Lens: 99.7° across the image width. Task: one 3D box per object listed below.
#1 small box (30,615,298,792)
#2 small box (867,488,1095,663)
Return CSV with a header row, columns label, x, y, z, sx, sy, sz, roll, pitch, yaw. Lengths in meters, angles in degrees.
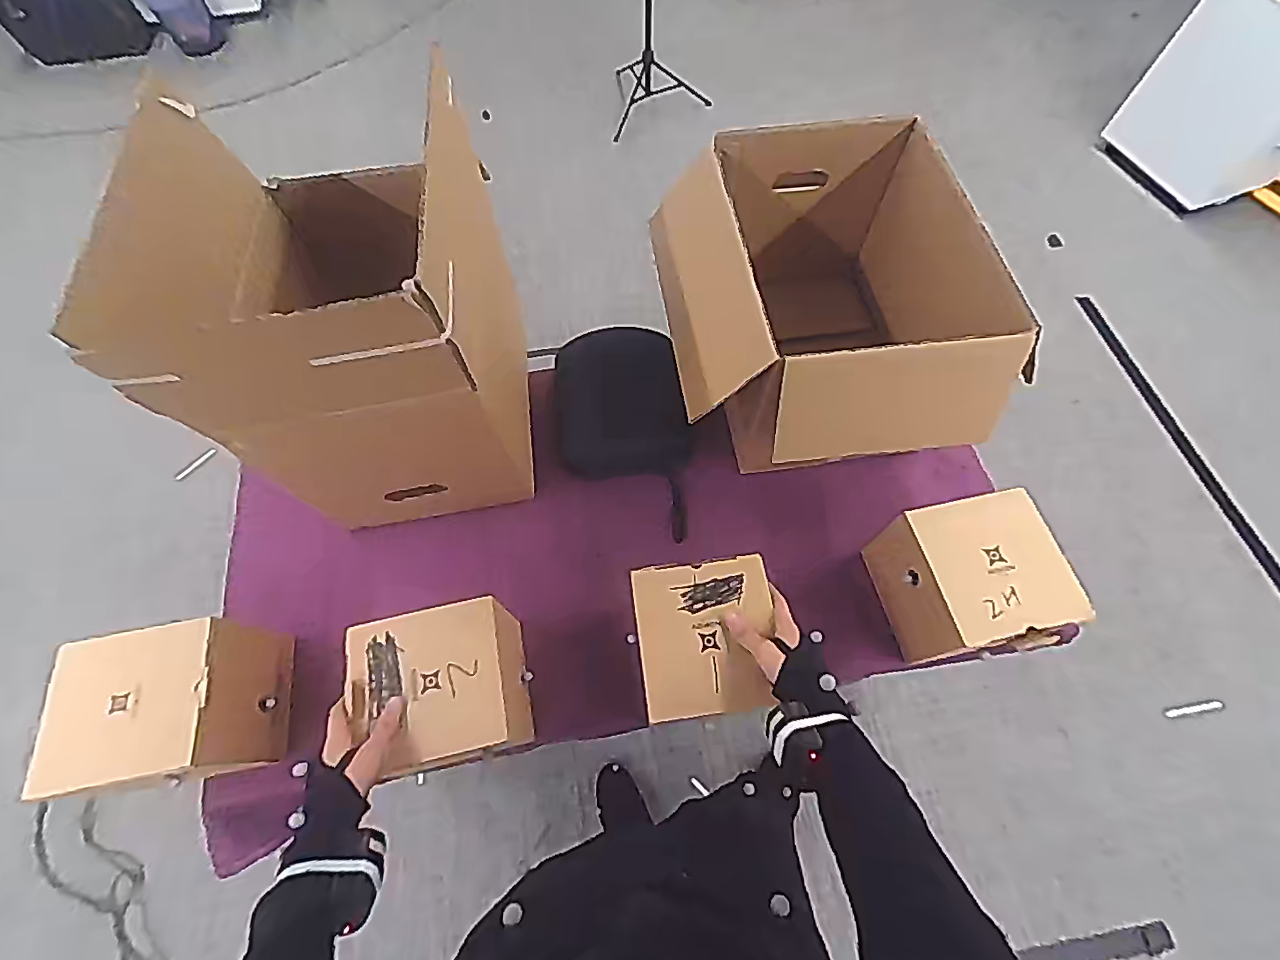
label,x,y,z,sx,sy,sz,roll,pitch,yaw
small box,-0.575,0.283,0.684,0.179,0.176,0.168,-10,65,-5
small box,0.436,0.134,0.731,0.168,0.176,0.179,-11,65,-3
